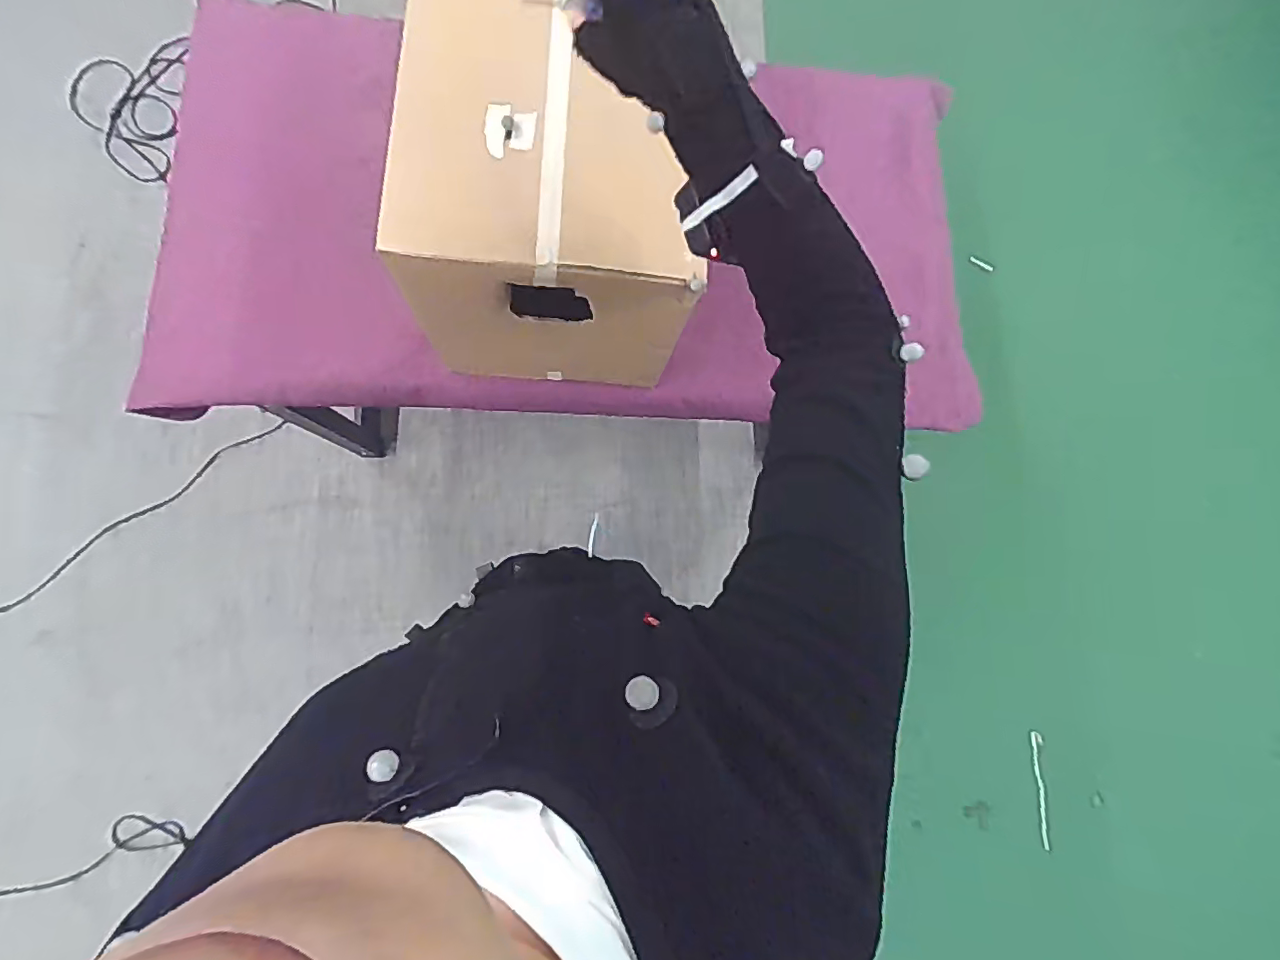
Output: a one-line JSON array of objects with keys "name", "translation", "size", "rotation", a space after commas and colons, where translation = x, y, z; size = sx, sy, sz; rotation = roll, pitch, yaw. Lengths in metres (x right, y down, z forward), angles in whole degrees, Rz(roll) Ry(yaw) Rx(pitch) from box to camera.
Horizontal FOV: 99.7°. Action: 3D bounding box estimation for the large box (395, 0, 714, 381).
[{"name": "large box", "translation": [-0.097, -0.380, 0.706], "size": [0.320, 0.320, 0.408], "rotation": [4, 81, -7]}]
